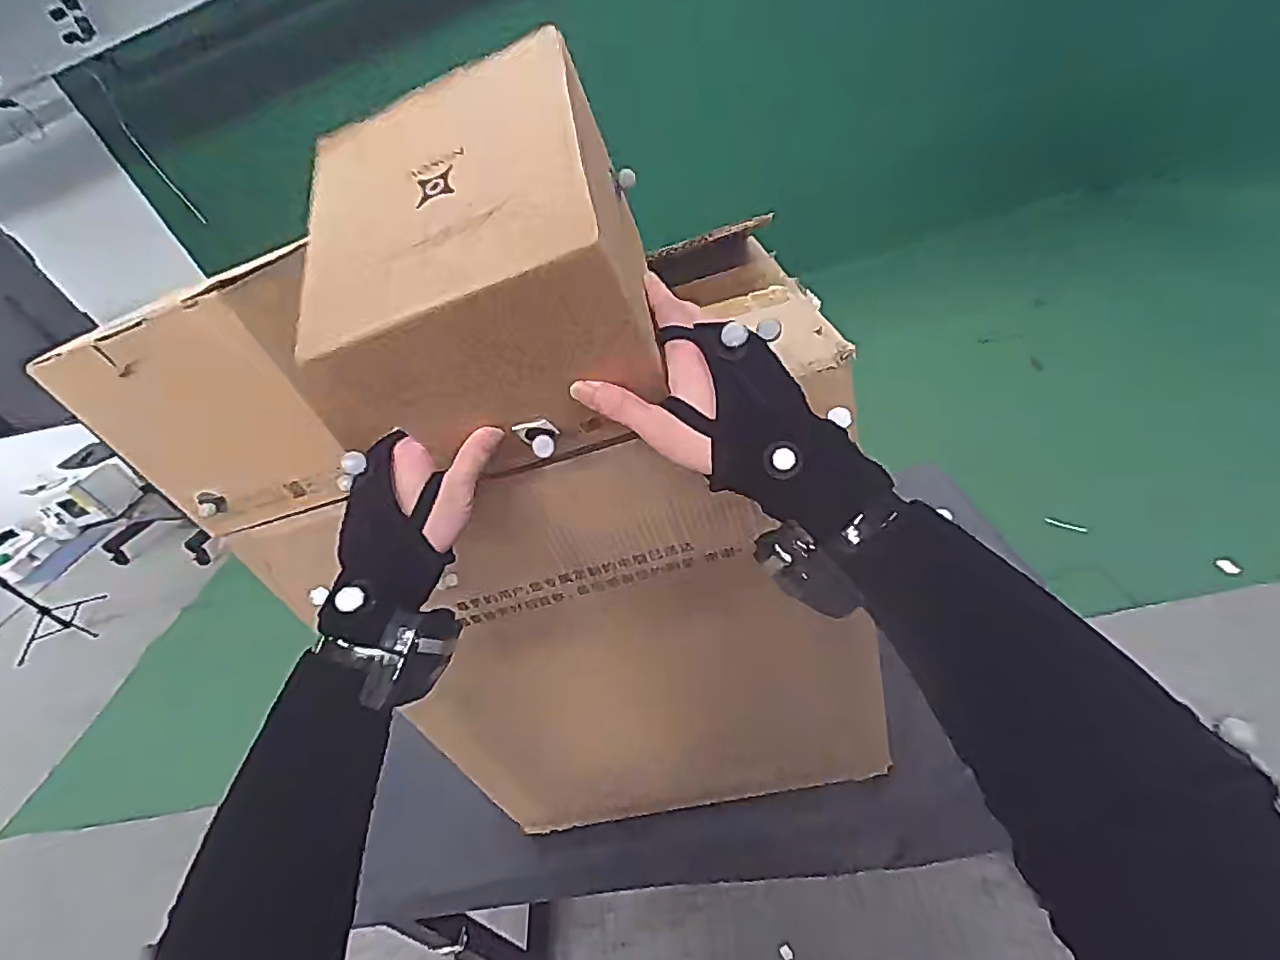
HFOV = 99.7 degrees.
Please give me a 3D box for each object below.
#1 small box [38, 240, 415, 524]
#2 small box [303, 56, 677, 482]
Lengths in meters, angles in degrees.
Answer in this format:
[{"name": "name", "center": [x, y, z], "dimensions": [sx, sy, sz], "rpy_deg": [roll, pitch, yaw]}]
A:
[{"name": "small box", "center": [-0.314, -0.080, 0.468], "dimensions": [0.168, 0.176, 0.179], "rpy_deg": [-15, 35, 11]}, {"name": "small box", "center": [-0.086, -0.124, 0.368], "dimensions": [0.168, 0.176, 0.179], "rpy_deg": [-18, 62, 12]}]
